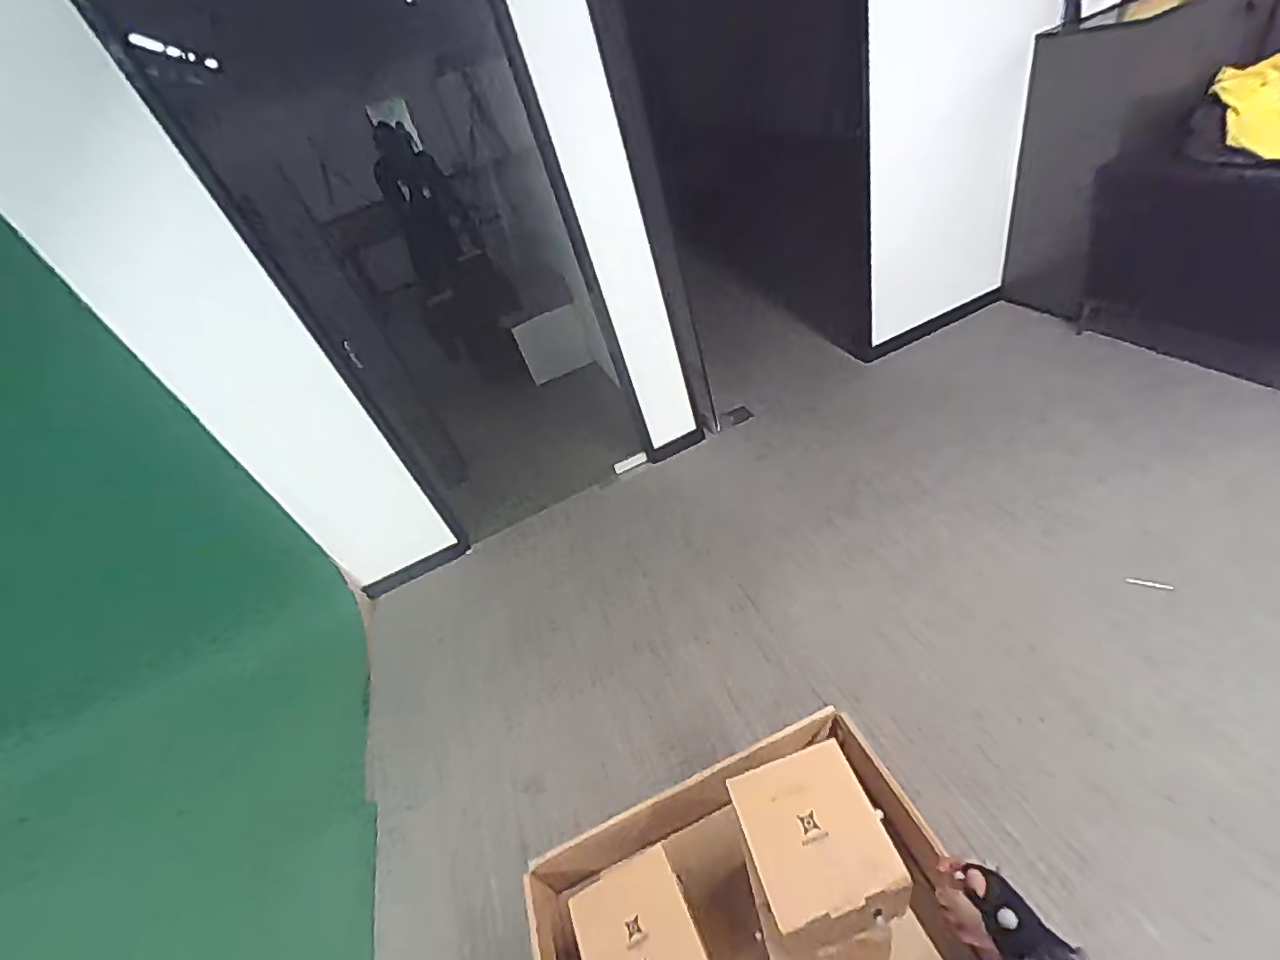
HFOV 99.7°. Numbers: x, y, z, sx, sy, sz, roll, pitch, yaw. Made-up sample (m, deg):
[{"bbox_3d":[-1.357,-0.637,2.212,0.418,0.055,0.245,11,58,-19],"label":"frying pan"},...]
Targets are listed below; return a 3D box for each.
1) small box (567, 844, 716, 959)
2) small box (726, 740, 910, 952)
[{"bbox_3d":[0.011,0.705,0.816,0.168,0.176,0.179,-26,39,-8],"label":"small box"},{"bbox_3d":[0.231,0.490,0.720,0.168,0.176,0.179,-20,38,-2],"label":"small box"}]
